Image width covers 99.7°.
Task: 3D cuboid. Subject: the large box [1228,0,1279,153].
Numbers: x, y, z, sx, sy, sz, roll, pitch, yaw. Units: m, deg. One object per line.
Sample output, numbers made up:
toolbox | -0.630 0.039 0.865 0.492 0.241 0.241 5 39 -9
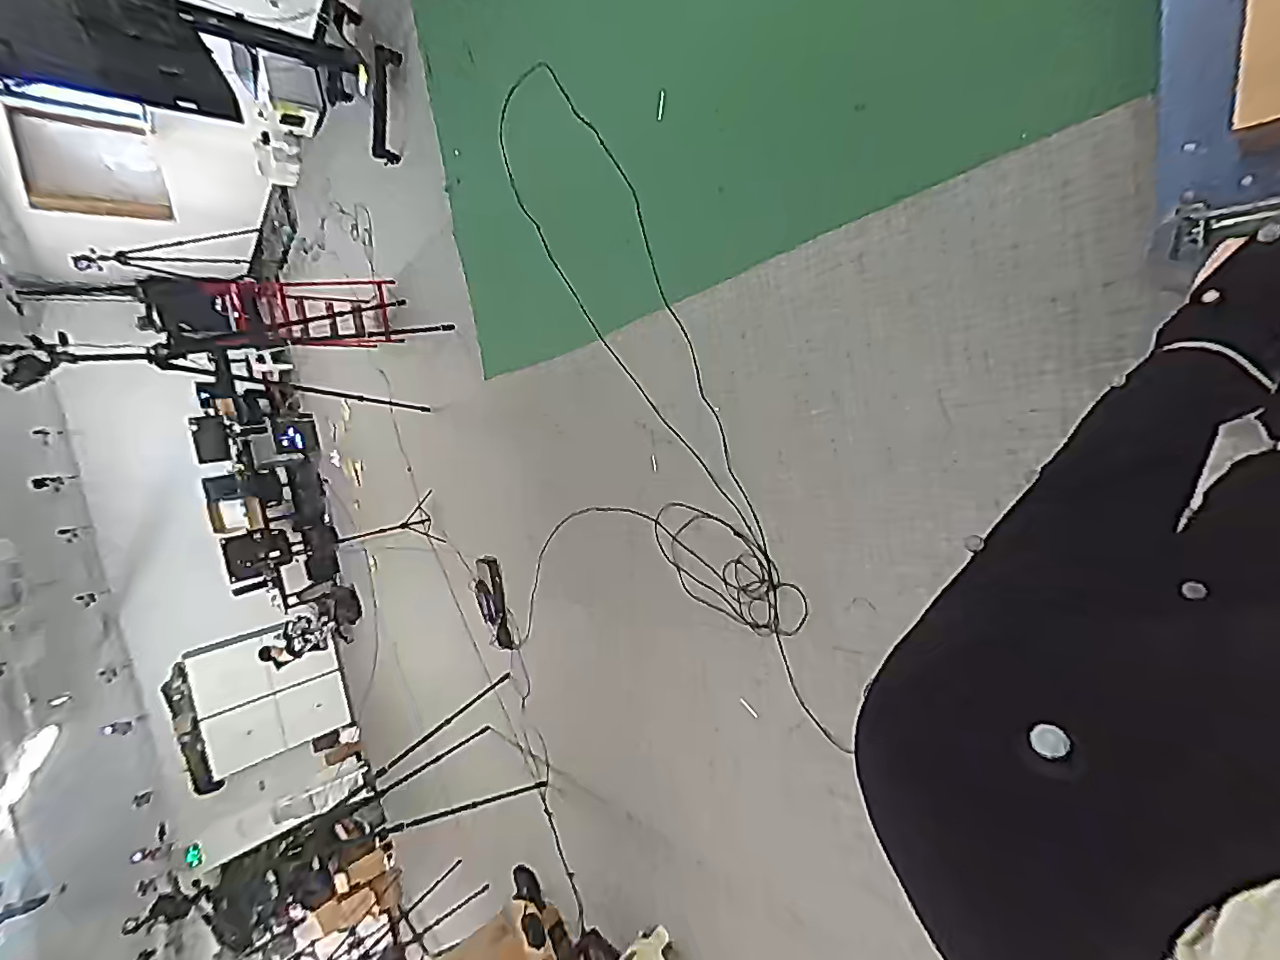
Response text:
large box | 0.972 -0.685 0.660 0.320 0.320 0.408 7 111 47
